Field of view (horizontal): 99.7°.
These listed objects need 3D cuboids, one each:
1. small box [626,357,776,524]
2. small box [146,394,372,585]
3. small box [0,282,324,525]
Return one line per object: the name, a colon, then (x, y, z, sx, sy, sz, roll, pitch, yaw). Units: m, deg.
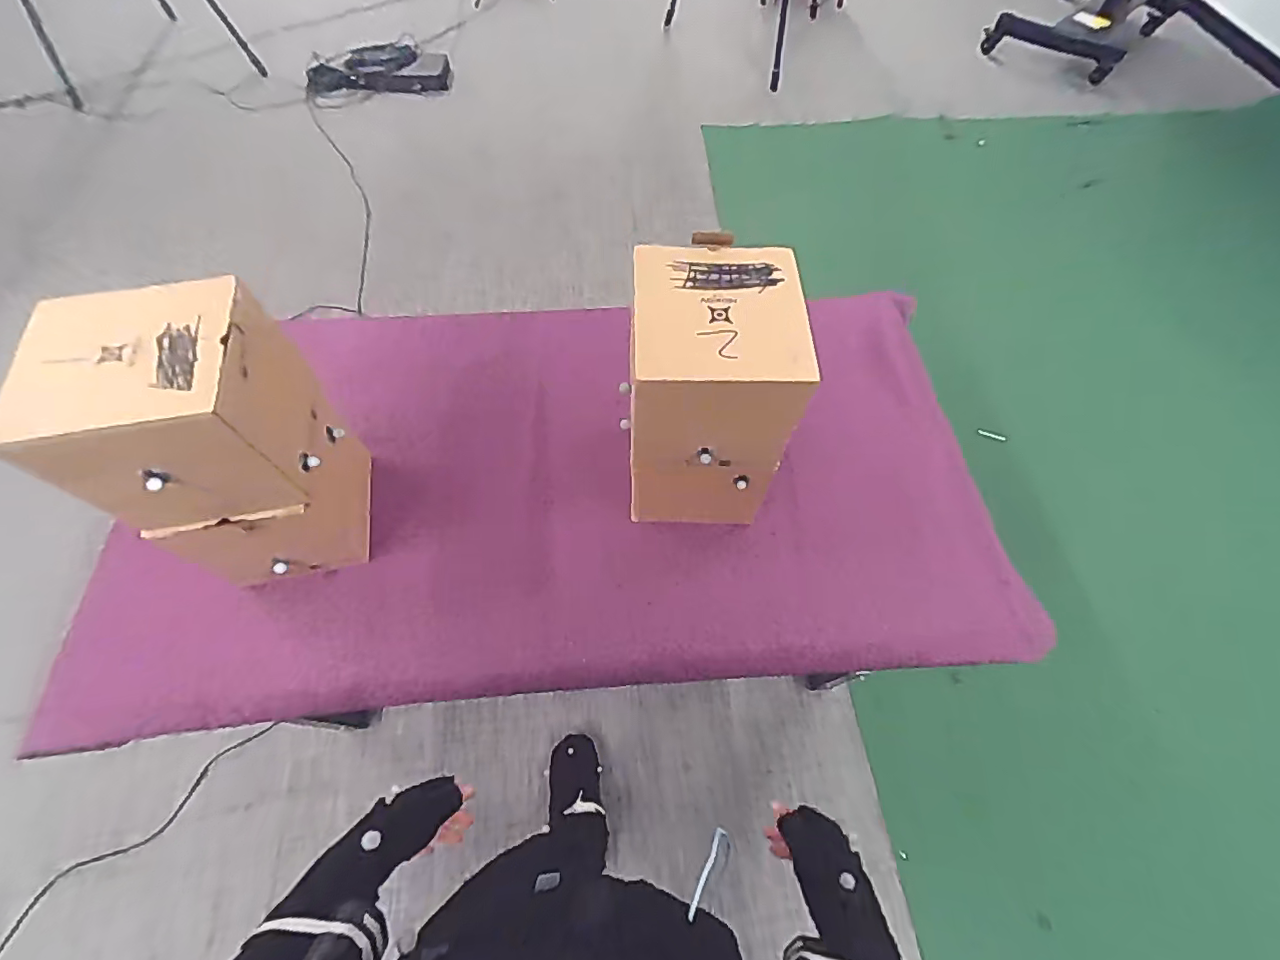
small box: (0.072, -0.047, 0.732, 0.179, 0.176, 0.168, 1, 61, -1)
small box: (-0.459, 0.015, 0.687, 0.168, 0.176, 0.179, -10, 62, -6)
small box: (-0.450, -0.070, 0.543, 0.179, 0.176, 0.168, -8, 60, -6)
